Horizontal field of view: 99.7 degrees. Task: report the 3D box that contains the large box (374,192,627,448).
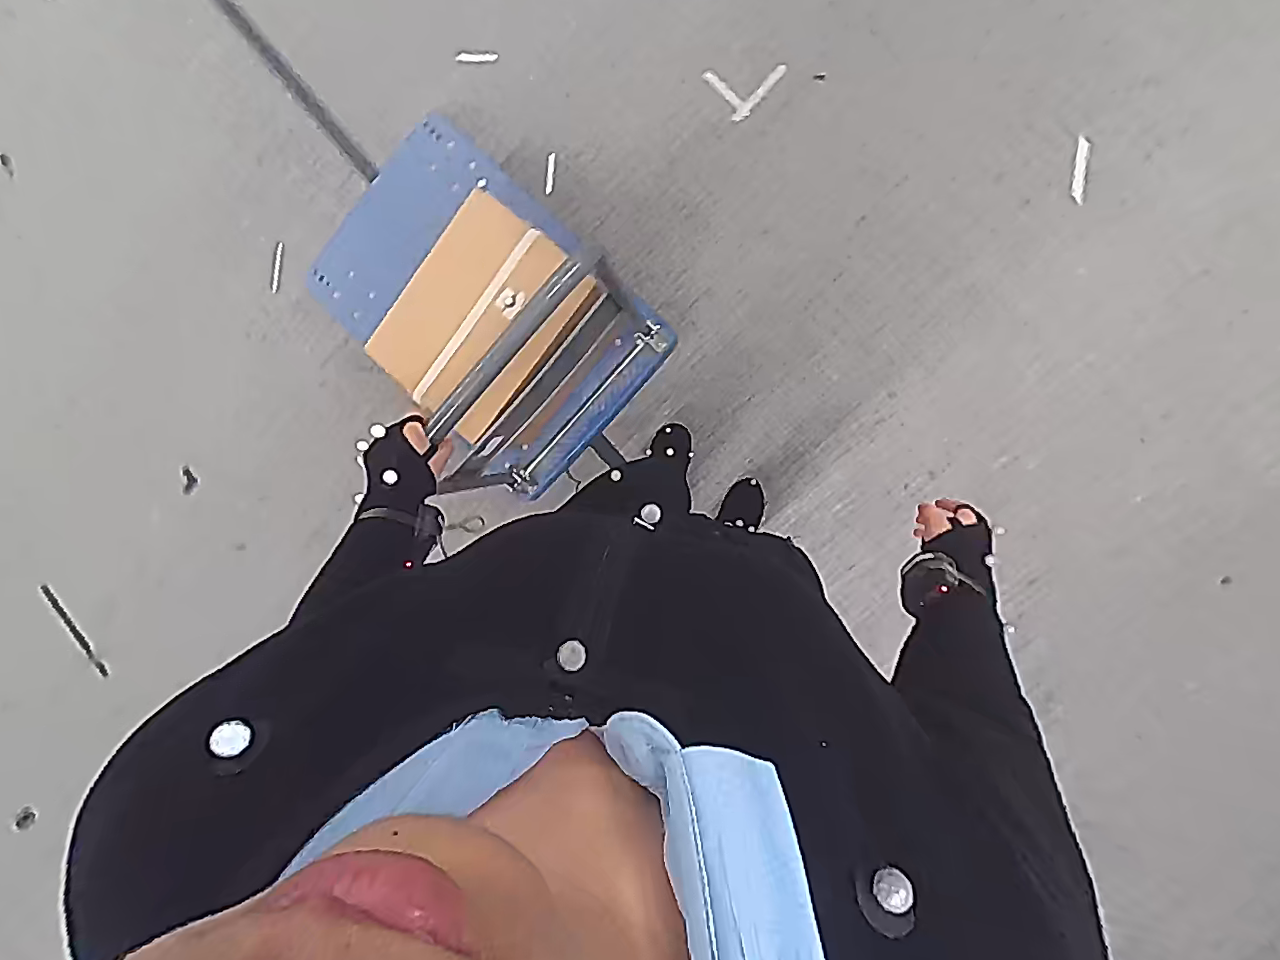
[{"bbox_3d":[-0.289,-0.321,1.214,0.320,0.320,0.408,40,97,5],"label":"large box"}]
